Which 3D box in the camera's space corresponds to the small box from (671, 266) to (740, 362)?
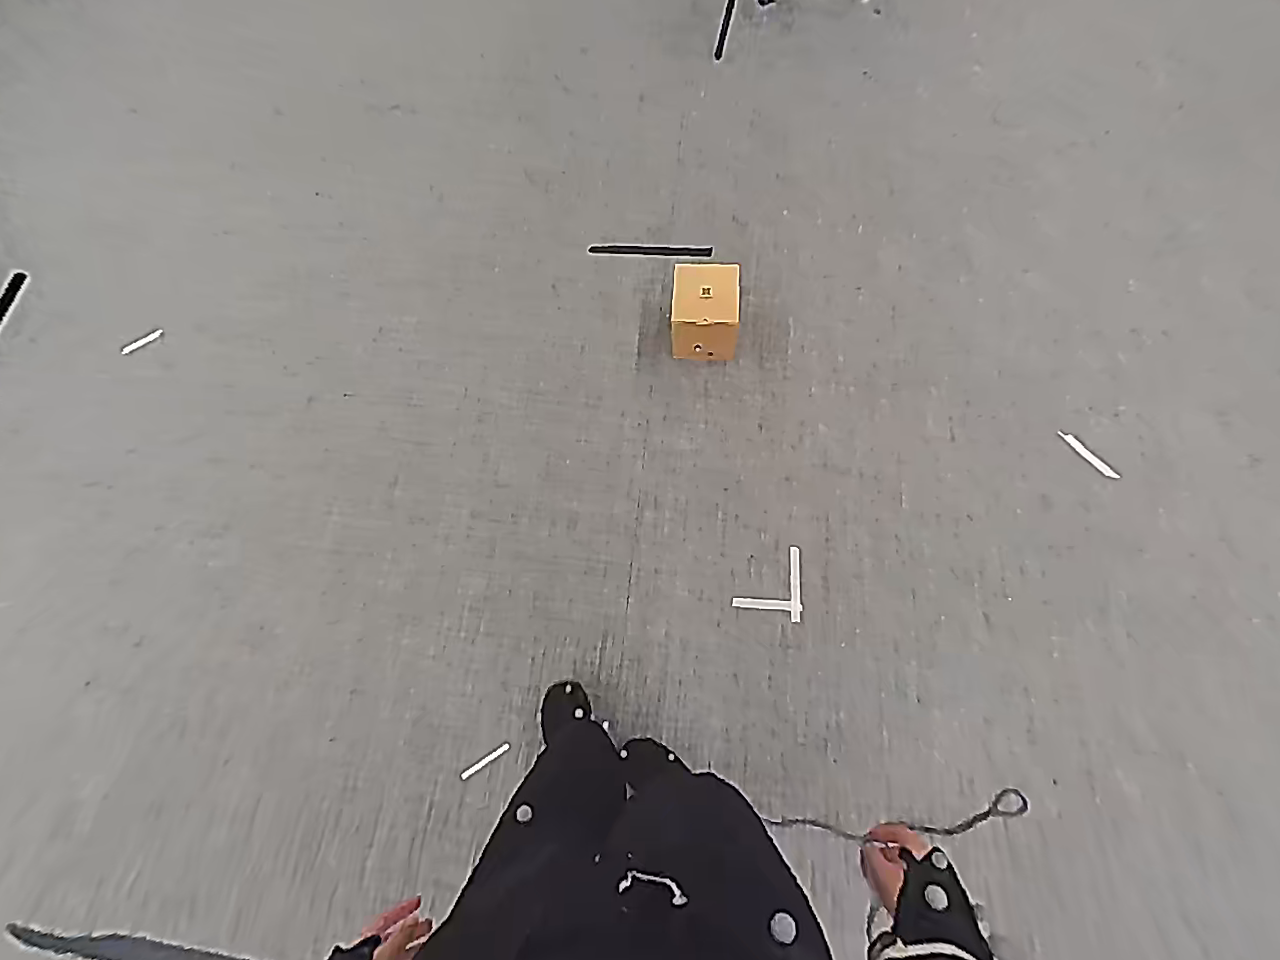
[{"bbox_3d":[0.168,-0.433,1.418,0.168,0.176,0.179,2,72,4],"label":"small box"}]
